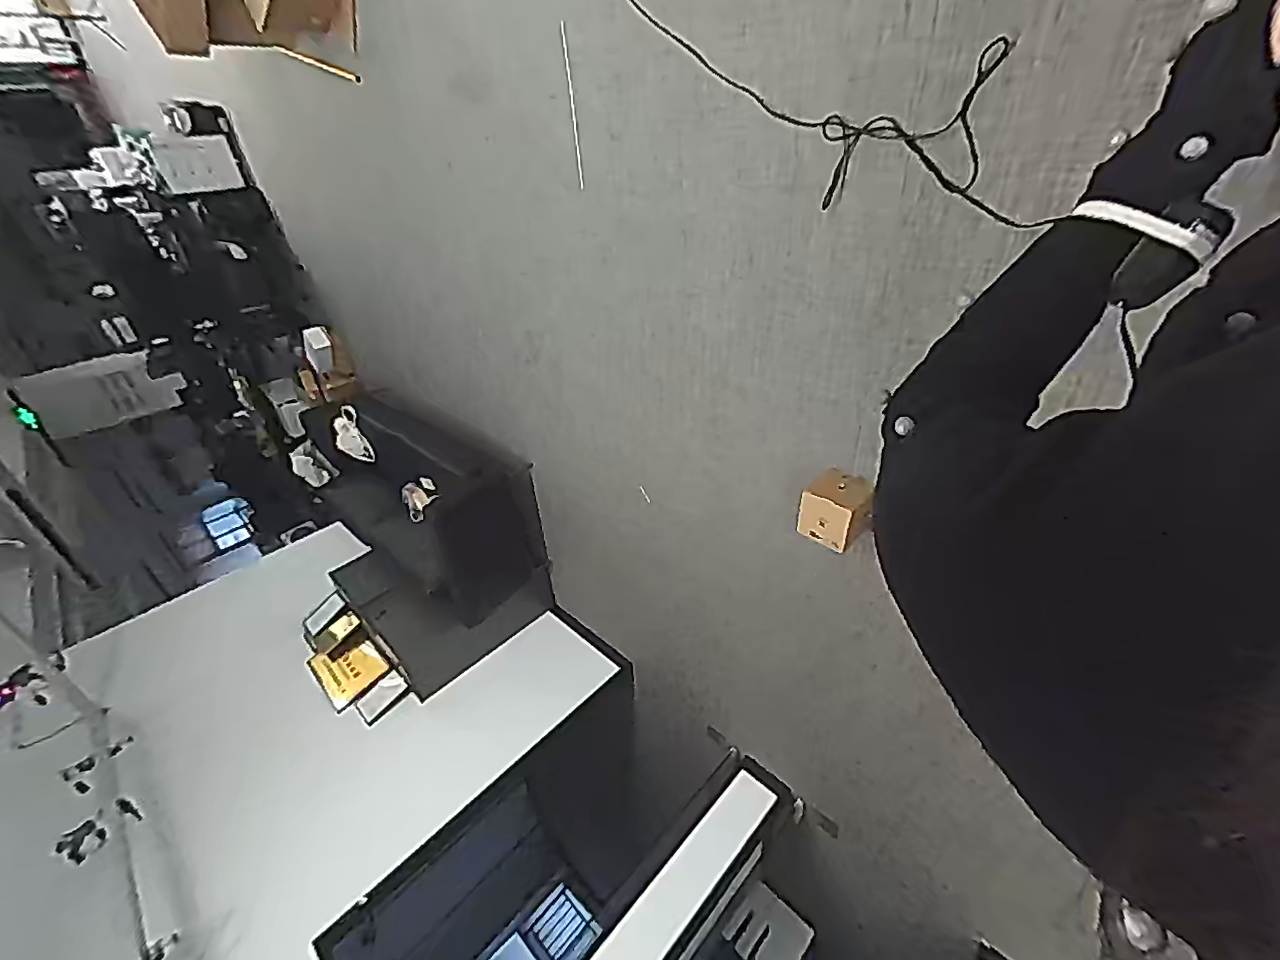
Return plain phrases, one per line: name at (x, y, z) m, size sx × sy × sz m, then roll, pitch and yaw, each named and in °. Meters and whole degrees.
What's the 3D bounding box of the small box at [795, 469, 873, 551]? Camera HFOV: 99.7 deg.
small box at (0.627, 0.088, 1.742) m, size 0.168 × 0.176 × 0.179 m, roll 29°, pitch 135°, yaw 36°
